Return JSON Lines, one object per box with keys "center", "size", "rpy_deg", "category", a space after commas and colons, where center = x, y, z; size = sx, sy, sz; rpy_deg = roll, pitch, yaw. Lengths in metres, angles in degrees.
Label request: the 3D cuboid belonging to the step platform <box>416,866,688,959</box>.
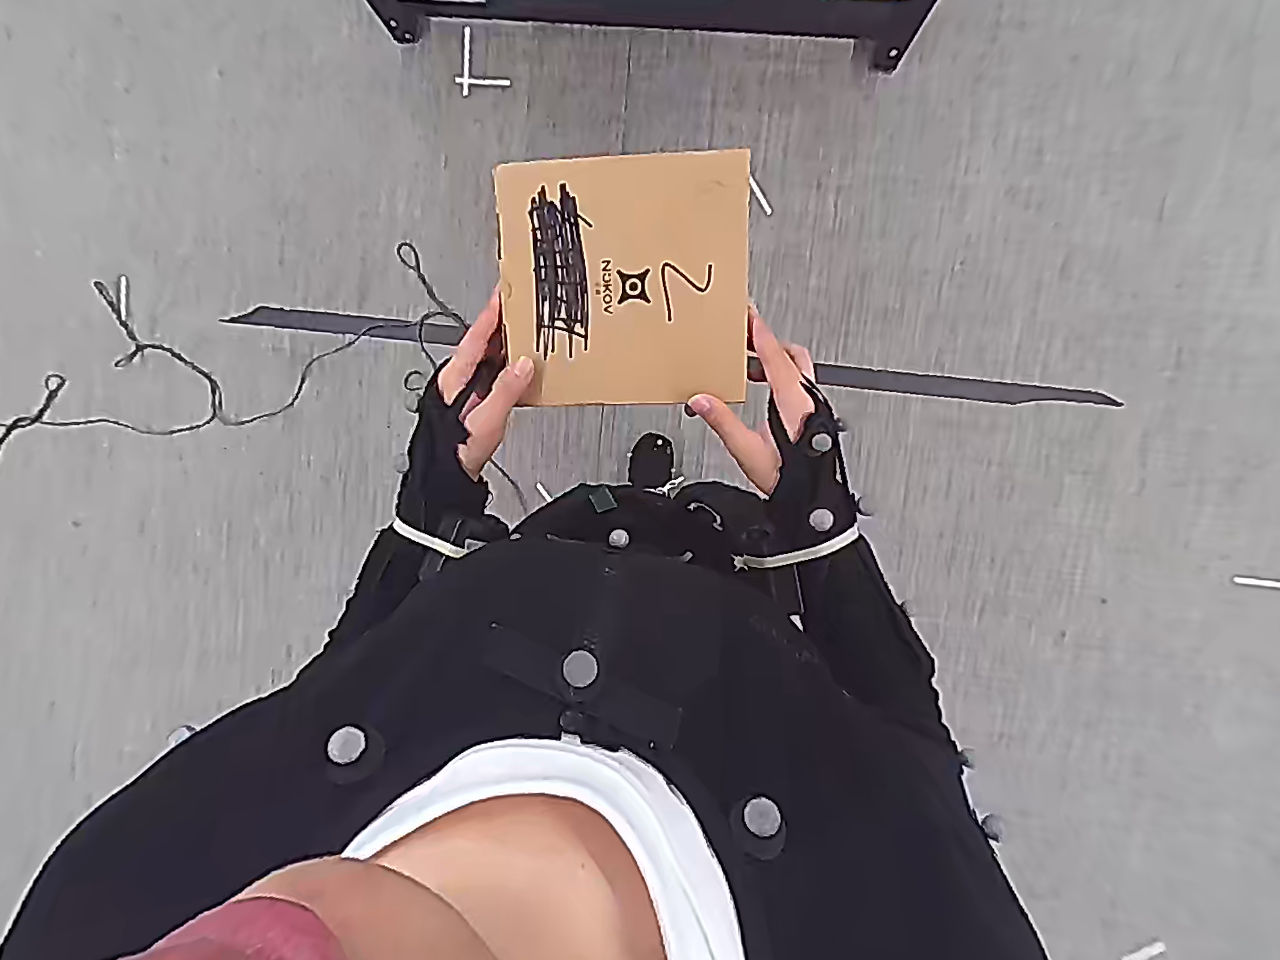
{"center": [-0.220, 1.235, 1.392], "size": [0.684, 0.204, 0.286], "rpy_deg": [5, 96, 2], "category": "step platform"}
